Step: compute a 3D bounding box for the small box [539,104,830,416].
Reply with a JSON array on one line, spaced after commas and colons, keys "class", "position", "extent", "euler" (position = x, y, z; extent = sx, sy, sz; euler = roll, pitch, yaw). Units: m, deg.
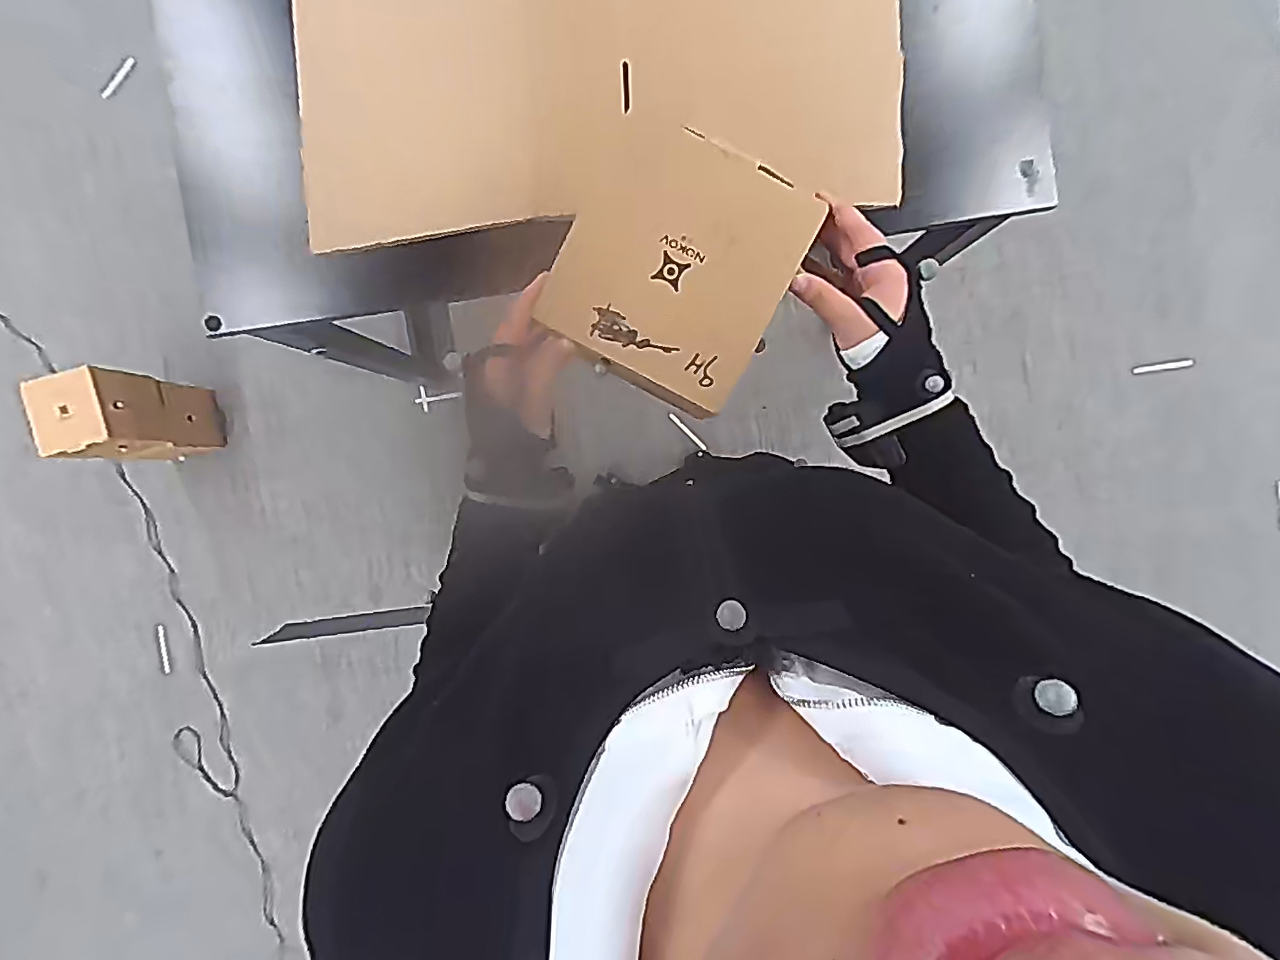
[{"class": "small box", "position": [0.033, -0.171, 0.485], "extent": [0.168, 0.176, 0.179], "euler": [28, 95, 0]}]

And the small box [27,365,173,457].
[{"class": "small box", "position": [-1.275, -0.157, 1.292], "extent": [0.168, 0.176, 0.179], "euler": [-15, 90, 1]}]

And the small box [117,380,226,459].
[{"class": "small box", "position": [-1.267, -0.157, 1.454], "extent": [0.168, 0.176, 0.179], "euler": [-12, 92, 2]}]
